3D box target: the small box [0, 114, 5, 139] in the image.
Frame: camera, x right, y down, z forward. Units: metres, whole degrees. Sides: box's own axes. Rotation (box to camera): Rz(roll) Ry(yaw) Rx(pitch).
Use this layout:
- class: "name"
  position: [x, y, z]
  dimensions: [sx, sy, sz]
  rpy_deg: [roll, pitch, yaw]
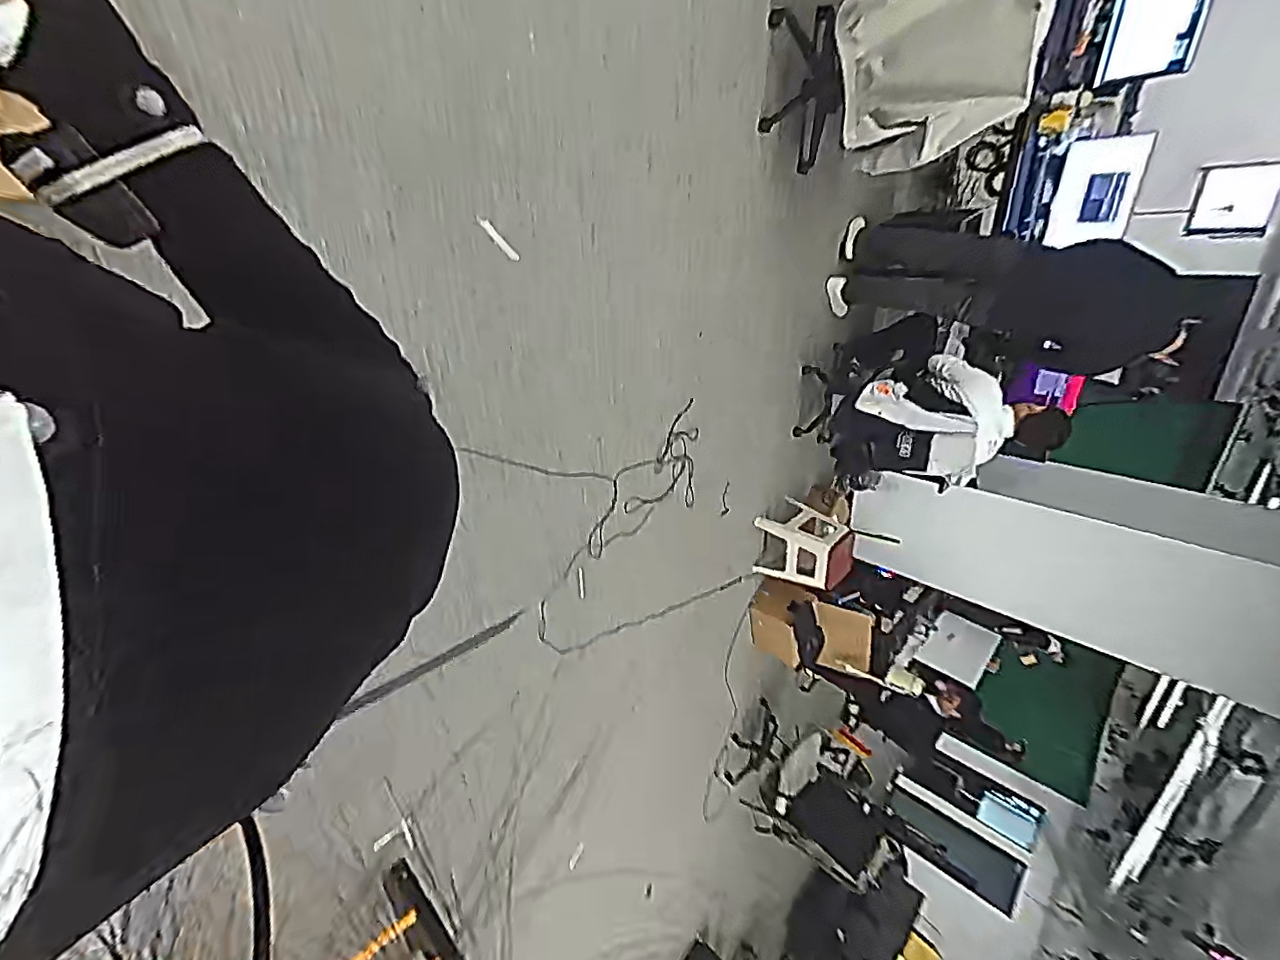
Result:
- class: "small box"
  position: [-1.000, -0.569, 0.714]
  dimensions: [0.168, 0.176, 0.179]
  rpy_deg: [-24, 122, -40]
